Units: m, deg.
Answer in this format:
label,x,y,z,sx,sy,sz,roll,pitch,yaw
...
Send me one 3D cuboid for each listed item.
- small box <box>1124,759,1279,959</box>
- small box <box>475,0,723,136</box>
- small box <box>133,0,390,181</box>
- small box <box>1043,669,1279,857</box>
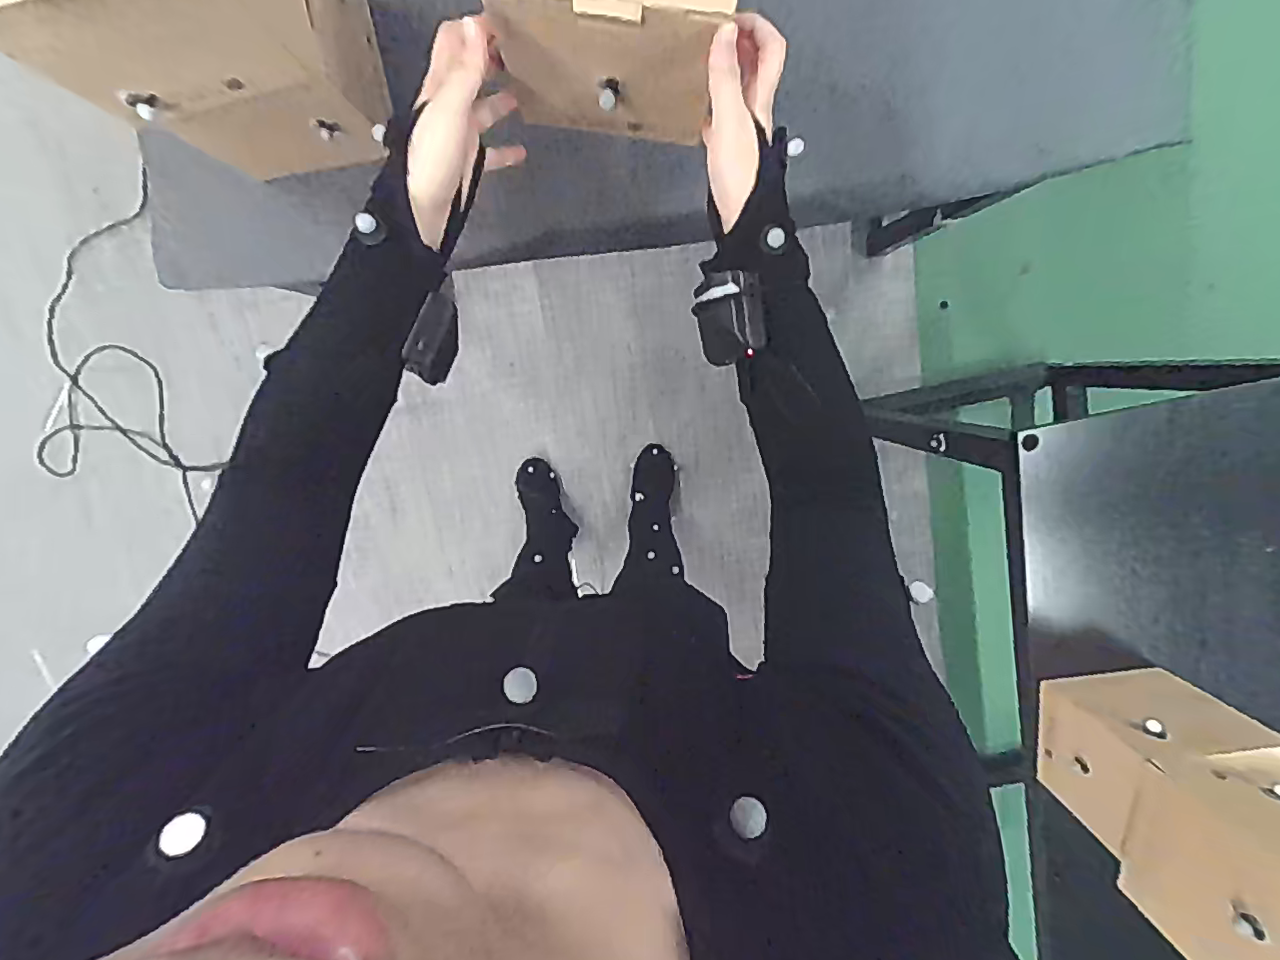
label,x,y,z,sx,sy,sz,roll,pitch,yaw
small box,0.654,0.420,0.552,0.168,0.176,0.179,1,102,0
small box,-0.019,-0.397,0.415,0.168,0.176,0.179,5,99,-1
small box,-0.372,-0.424,0.535,0.179,0.176,0.168,-11,100,2
small box,0.671,0.370,0.707,0.179,0.176,0.168,-7,102,1
